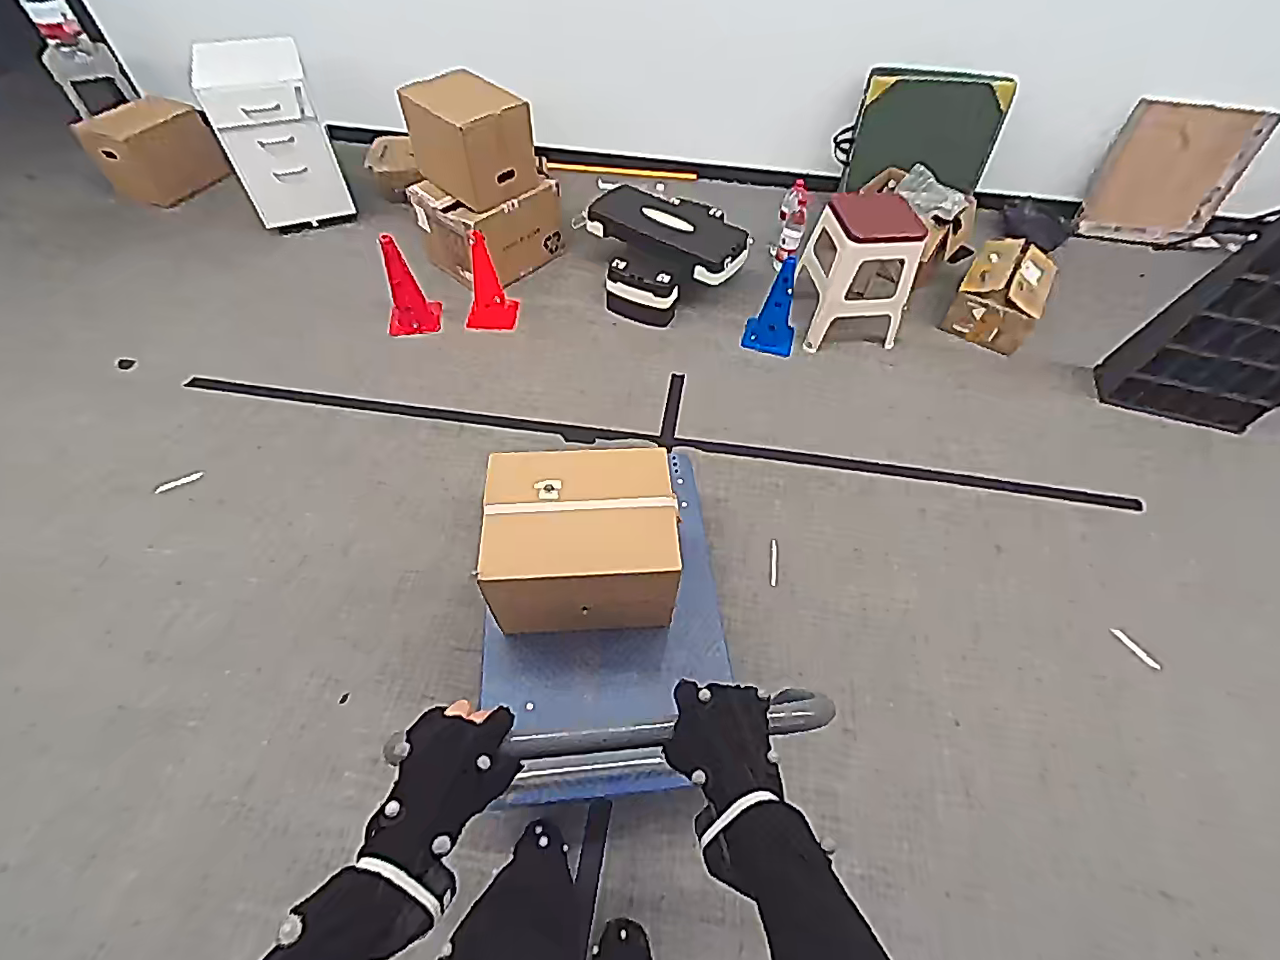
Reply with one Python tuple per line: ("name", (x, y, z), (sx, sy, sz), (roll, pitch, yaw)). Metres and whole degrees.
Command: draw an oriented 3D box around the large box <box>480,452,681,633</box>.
("large box", (-0.128, 0.154, 1.271), (0.408, 0.320, 0.320), (-2, 55, -3))
